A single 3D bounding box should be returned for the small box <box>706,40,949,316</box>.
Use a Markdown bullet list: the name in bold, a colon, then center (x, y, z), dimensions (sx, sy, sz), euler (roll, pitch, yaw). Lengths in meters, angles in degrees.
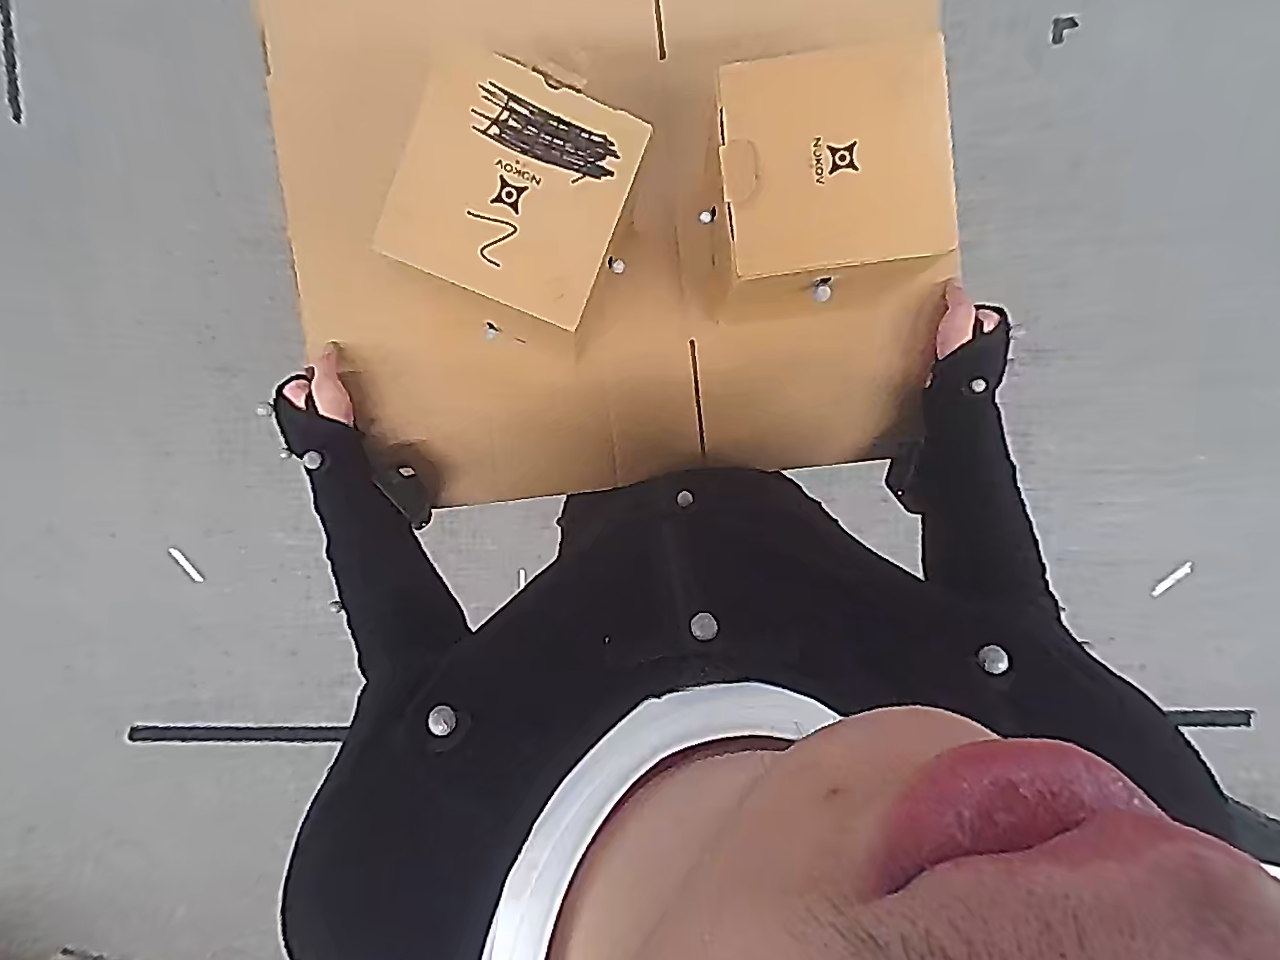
- **small box**: center (0.161, -0.265, 0.517), dimensions (0.179, 0.176, 0.168), euler (-6, 93, 4)
